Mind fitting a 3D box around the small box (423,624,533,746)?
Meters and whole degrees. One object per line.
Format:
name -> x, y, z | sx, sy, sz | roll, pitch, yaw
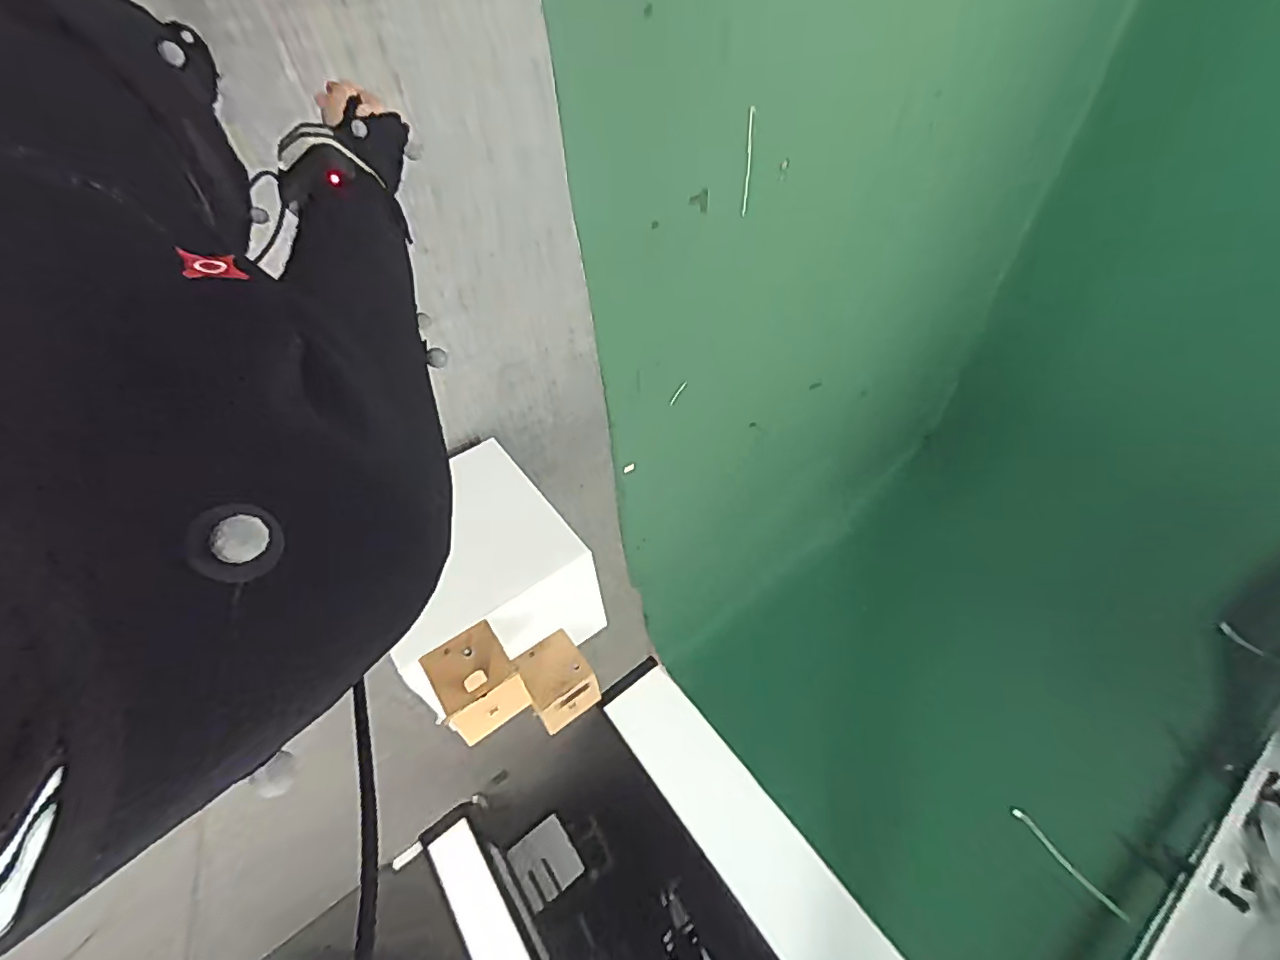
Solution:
small box -> -0.369, 0.464, 1.239 | 0.168, 0.176, 0.179 | -30, 142, -22
